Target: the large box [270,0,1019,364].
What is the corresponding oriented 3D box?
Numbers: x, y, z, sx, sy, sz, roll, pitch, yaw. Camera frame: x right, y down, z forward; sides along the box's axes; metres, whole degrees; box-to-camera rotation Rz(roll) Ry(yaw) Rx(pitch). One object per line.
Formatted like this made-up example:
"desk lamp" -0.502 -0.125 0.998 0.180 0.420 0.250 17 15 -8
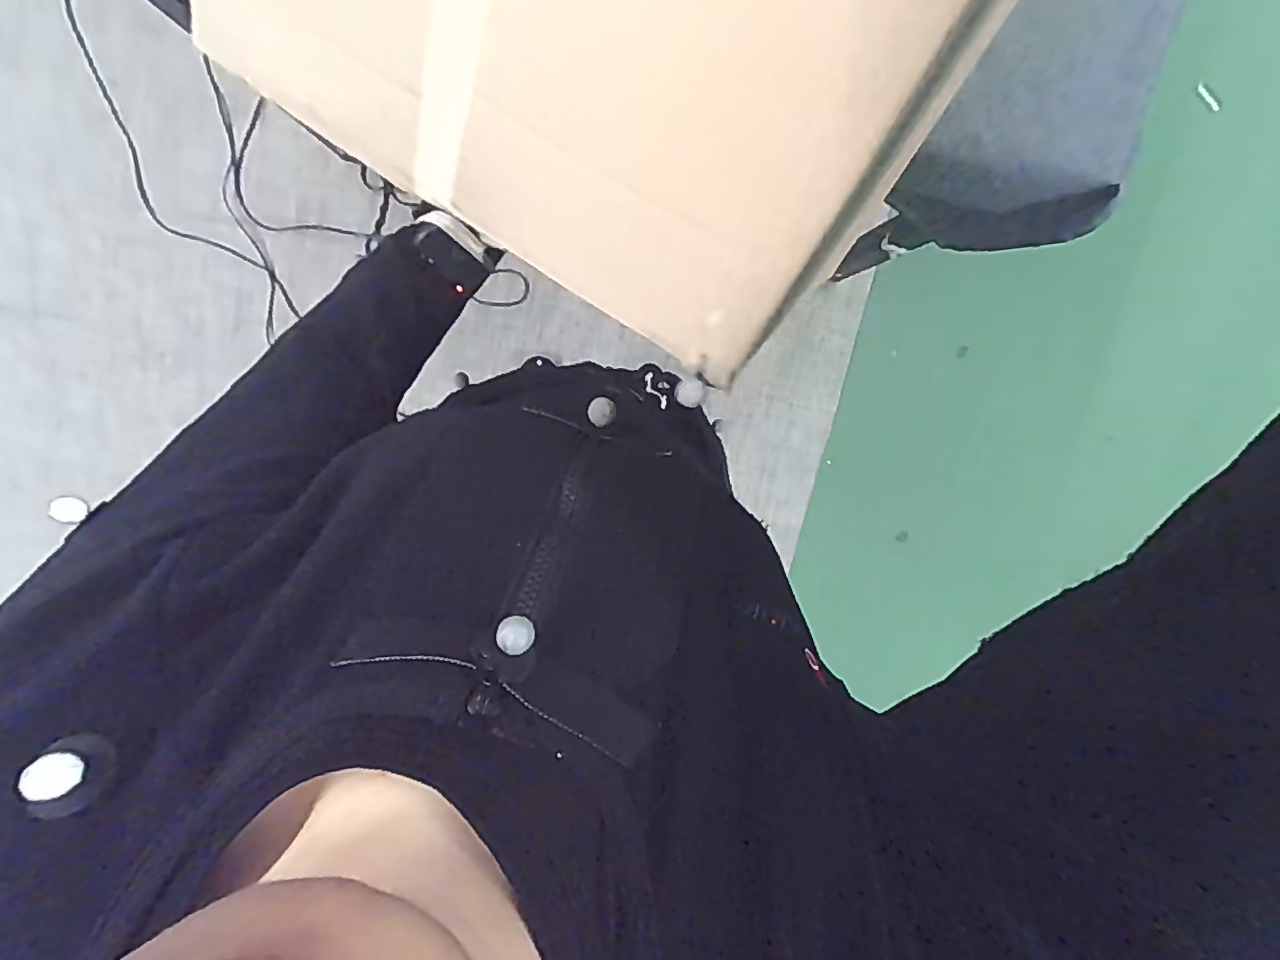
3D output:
"large box" 0.067 -0.342 0.260 0.320 0.320 0.408 34 128 7
